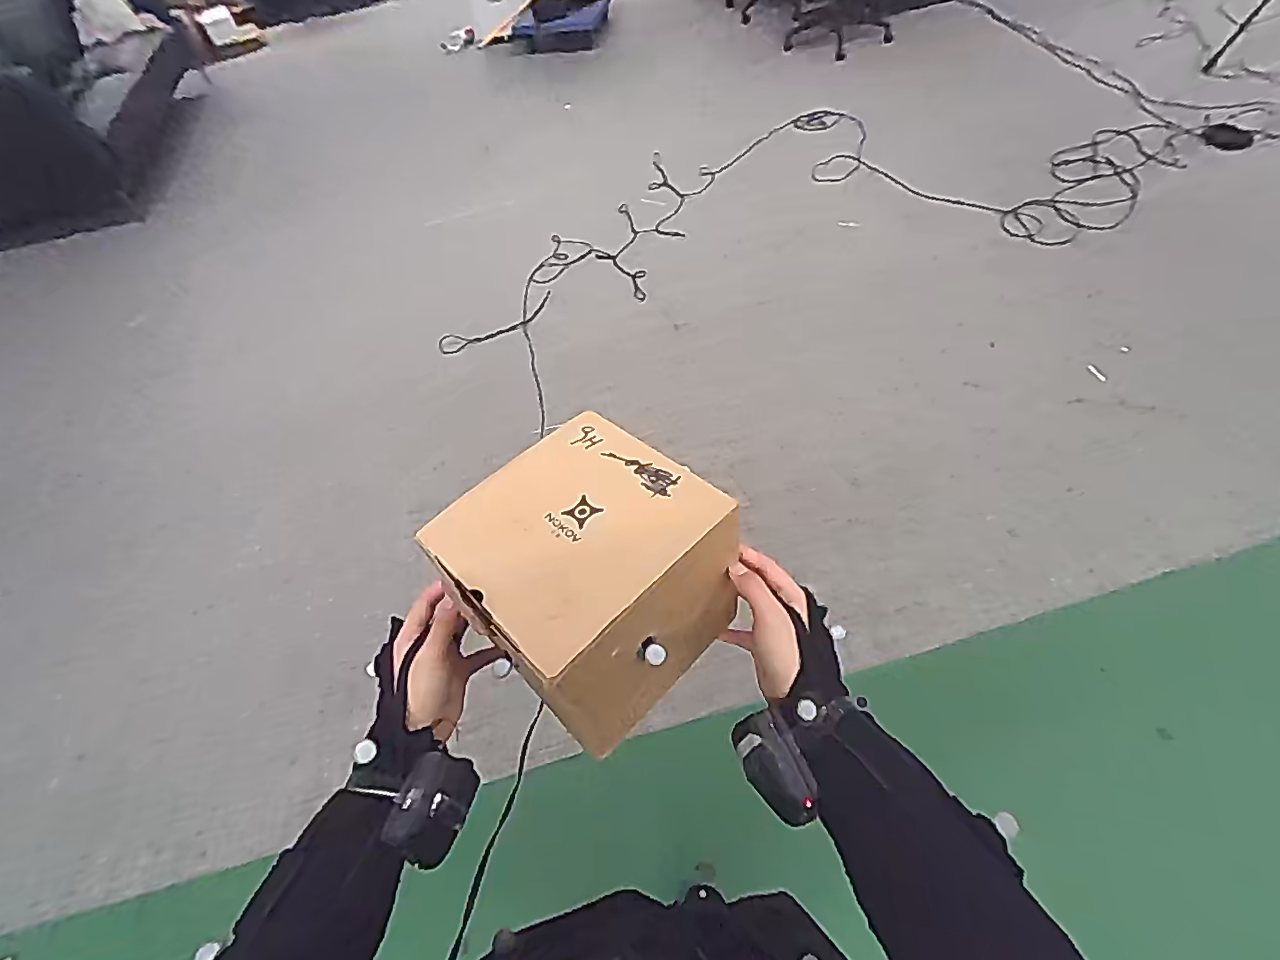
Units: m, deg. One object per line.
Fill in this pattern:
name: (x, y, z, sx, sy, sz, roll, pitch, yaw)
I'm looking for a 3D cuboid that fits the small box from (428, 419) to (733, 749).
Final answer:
small box: (-0.035, 0.087, 0.455, 0.179, 0.176, 0.168, -40, 54, -24)
